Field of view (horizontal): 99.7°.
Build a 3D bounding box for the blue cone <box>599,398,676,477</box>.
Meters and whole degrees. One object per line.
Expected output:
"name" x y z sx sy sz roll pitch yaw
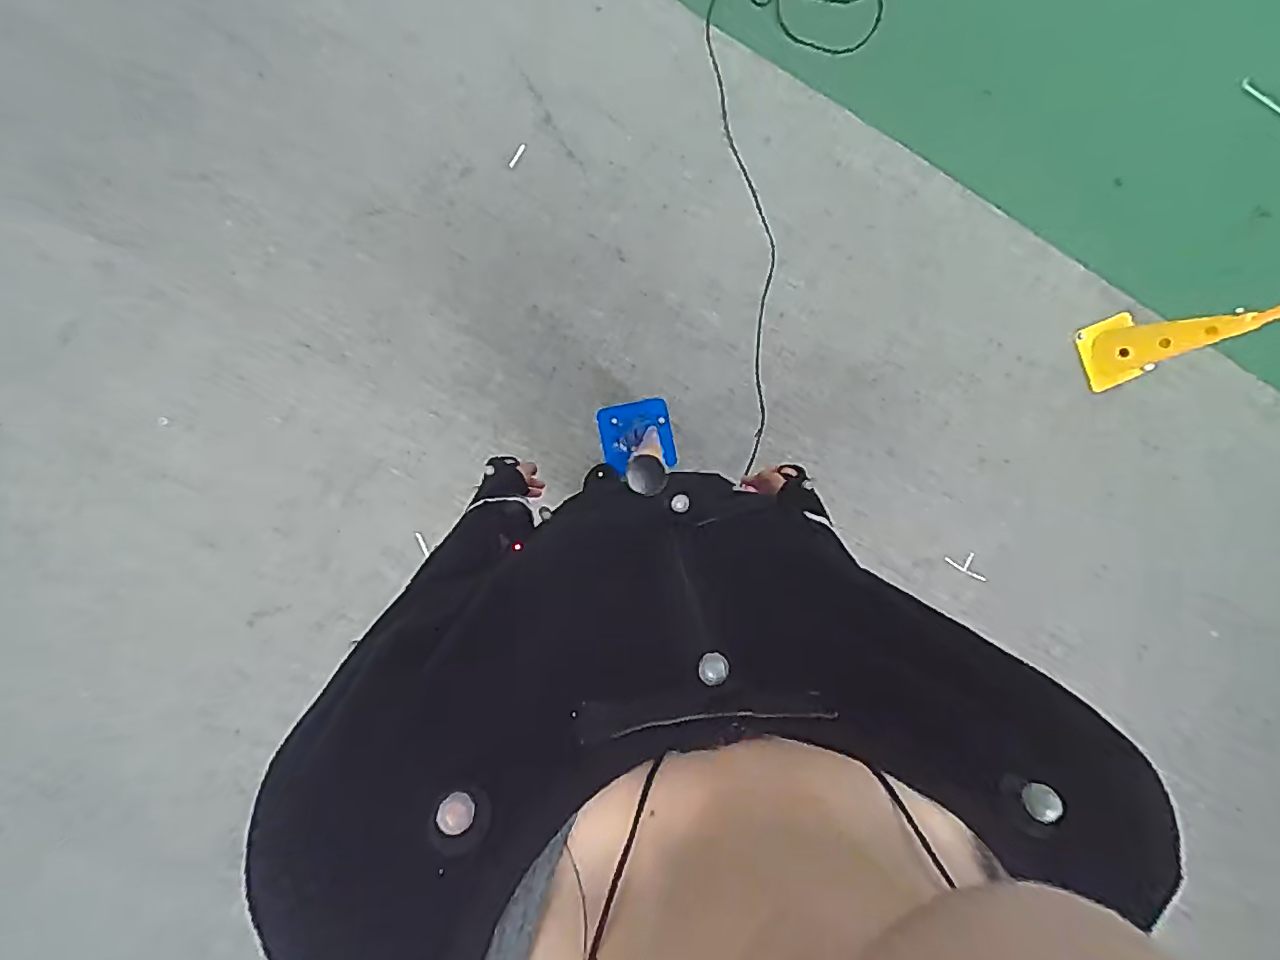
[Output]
"blue cone" 0.009 -0.107 1.313 0.193 0.380 0.192 -13 93 -4
